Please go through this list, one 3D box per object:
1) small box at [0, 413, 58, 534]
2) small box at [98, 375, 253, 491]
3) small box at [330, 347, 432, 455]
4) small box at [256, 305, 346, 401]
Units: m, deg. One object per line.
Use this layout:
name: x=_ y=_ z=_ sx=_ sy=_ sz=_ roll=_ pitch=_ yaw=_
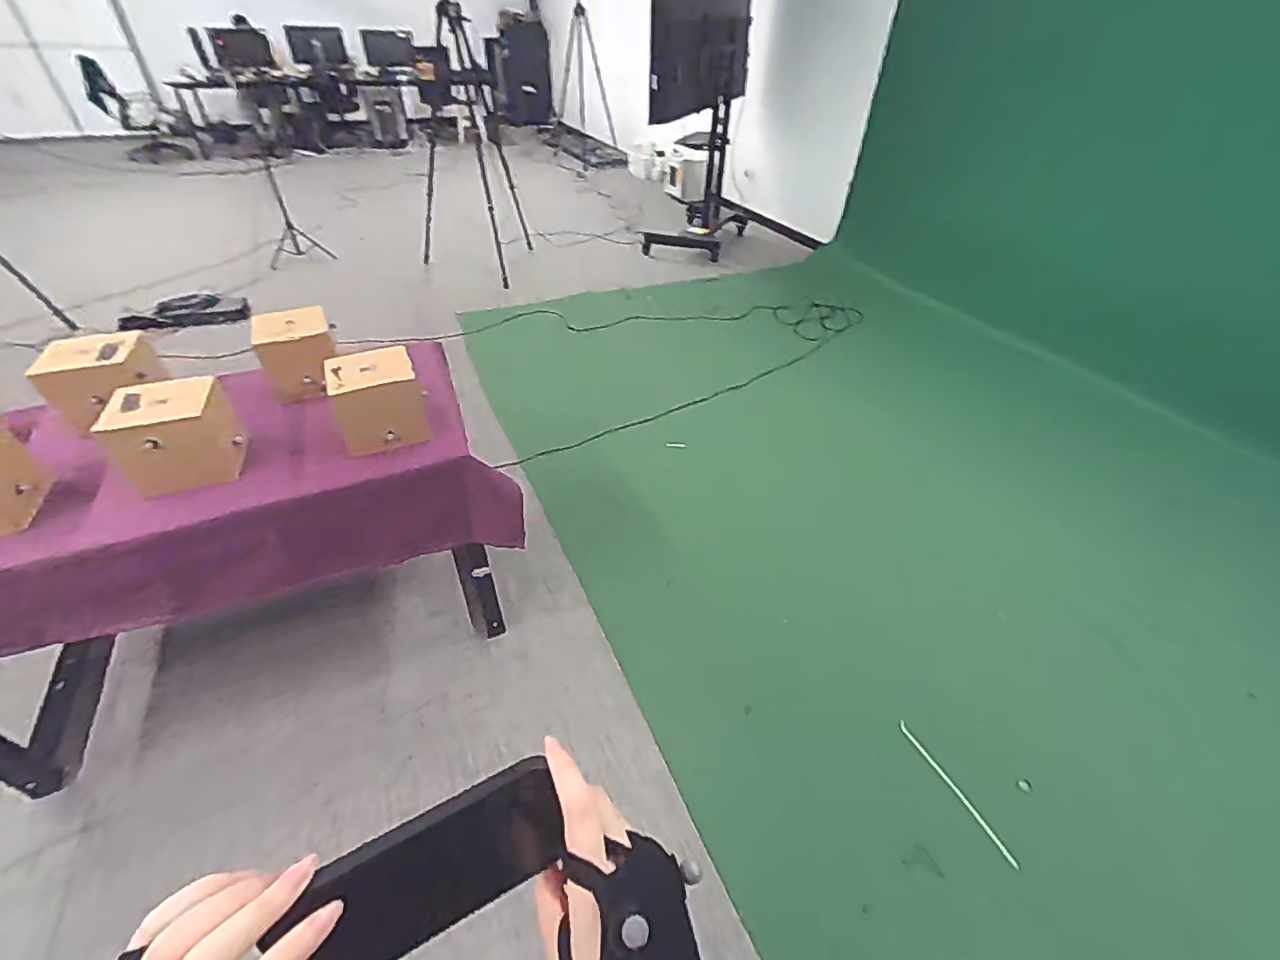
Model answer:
small box: x=-1.267 y=0.001 z=1.004 sx=0.179 sy=0.176 sz=0.168 roll=-14 pitch=43 yaw=-19
small box: x=-0.953 y=-0.097 z=1.130 sx=0.179 sy=0.176 sz=0.168 roll=-12 pitch=43 yaw=-18
small box: x=-0.589 y=-0.183 z=1.244 sx=0.179 sy=0.176 sz=0.168 roll=-16 pitch=44 yaw=-20
small box: x=-0.862 y=-0.329 z=1.398 sx=0.168 sy=0.176 sz=0.179 roll=-18 pitch=45 yaw=-21
